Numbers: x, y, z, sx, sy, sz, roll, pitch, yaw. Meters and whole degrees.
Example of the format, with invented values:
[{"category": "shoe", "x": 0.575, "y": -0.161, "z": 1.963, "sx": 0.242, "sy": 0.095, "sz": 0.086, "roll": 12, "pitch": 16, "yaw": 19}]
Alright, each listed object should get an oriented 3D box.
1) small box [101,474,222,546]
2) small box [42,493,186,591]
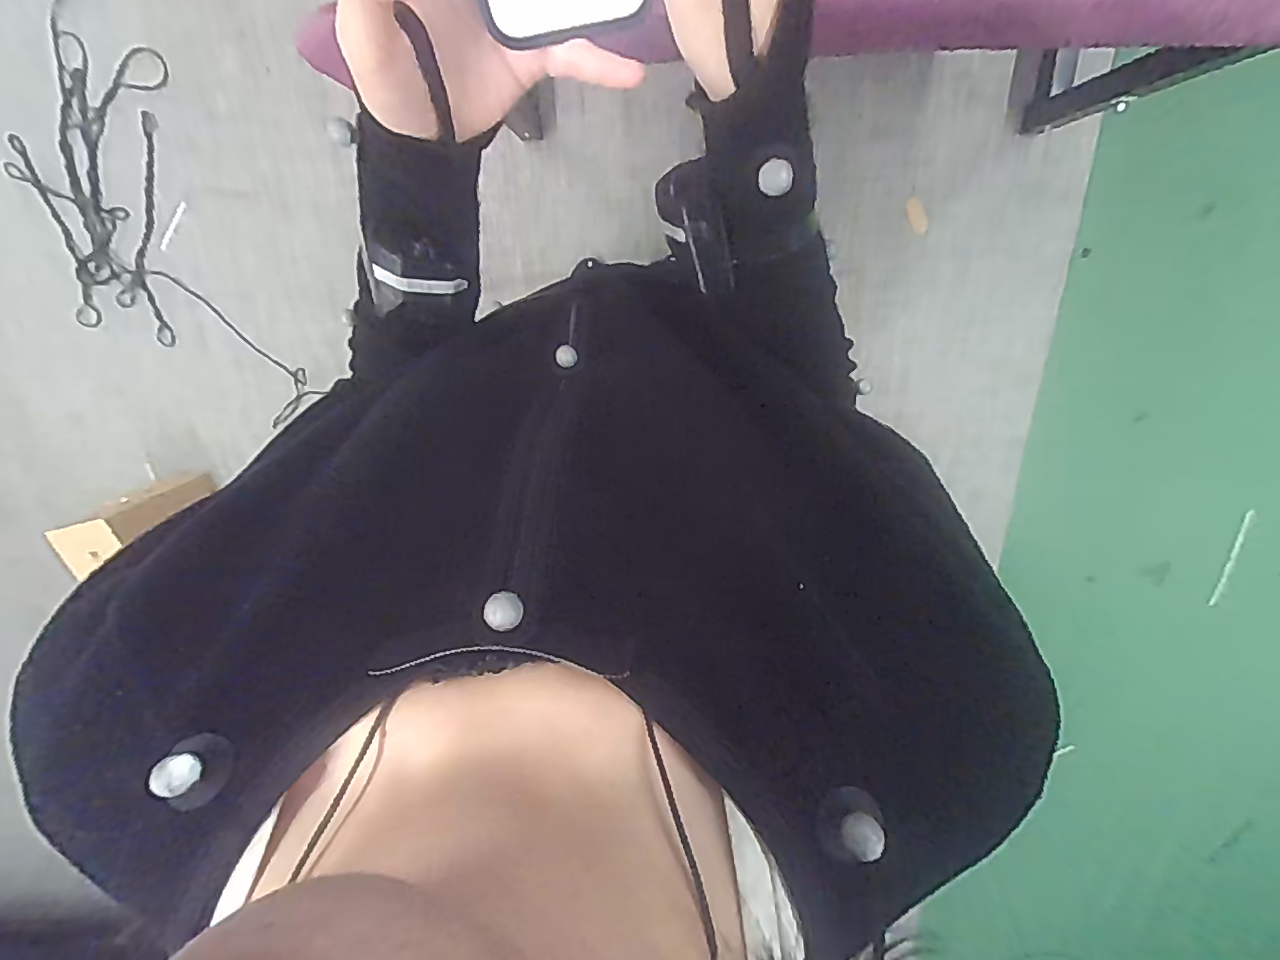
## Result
[{"category": "small box", "x": -1.350, "y": 0.092, "z": 1.546, "sx": 0.179, "sy": 0.176, "sz": 0.168, "roll": -8, "pitch": 111, "yaw": 5}, {"category": "small box", "x": -1.342, "y": 0.157, "z": 1.396, "sx": 0.168, "sy": 0.176, "sz": 0.179, "roll": -12, "pitch": 111, "yaw": 6}]
